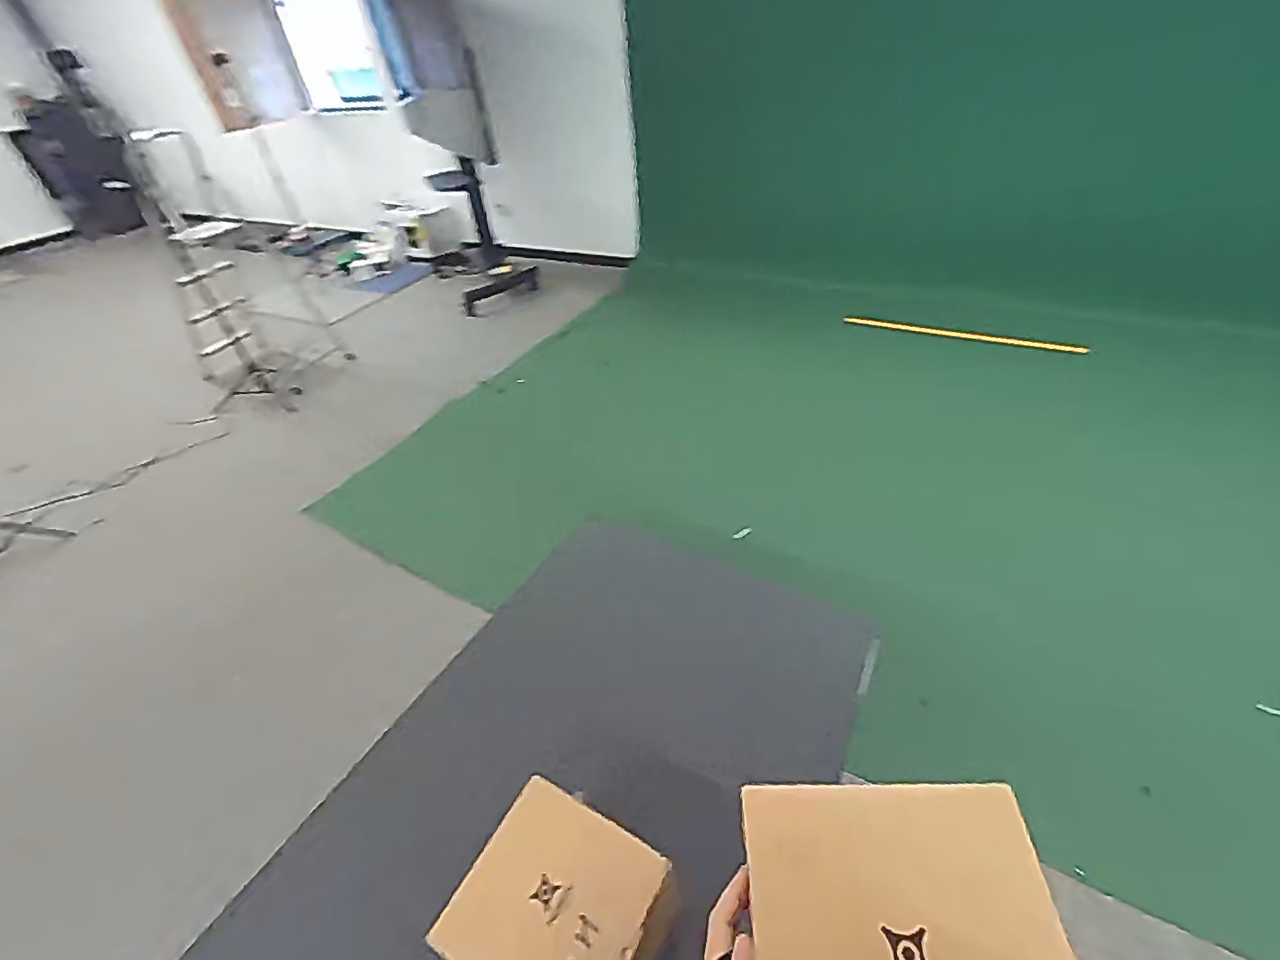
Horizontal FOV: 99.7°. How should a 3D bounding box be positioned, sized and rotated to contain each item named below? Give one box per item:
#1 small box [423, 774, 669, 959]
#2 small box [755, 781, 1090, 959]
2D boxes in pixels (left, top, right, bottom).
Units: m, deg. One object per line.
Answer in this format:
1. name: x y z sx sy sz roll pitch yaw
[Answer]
1. small box: -0.083 0.456 0.564 0.179 0.176 0.168 17 46 25
2. small box: 0.162 0.311 0.342 0.168 0.176 0.179 -4 48 9
